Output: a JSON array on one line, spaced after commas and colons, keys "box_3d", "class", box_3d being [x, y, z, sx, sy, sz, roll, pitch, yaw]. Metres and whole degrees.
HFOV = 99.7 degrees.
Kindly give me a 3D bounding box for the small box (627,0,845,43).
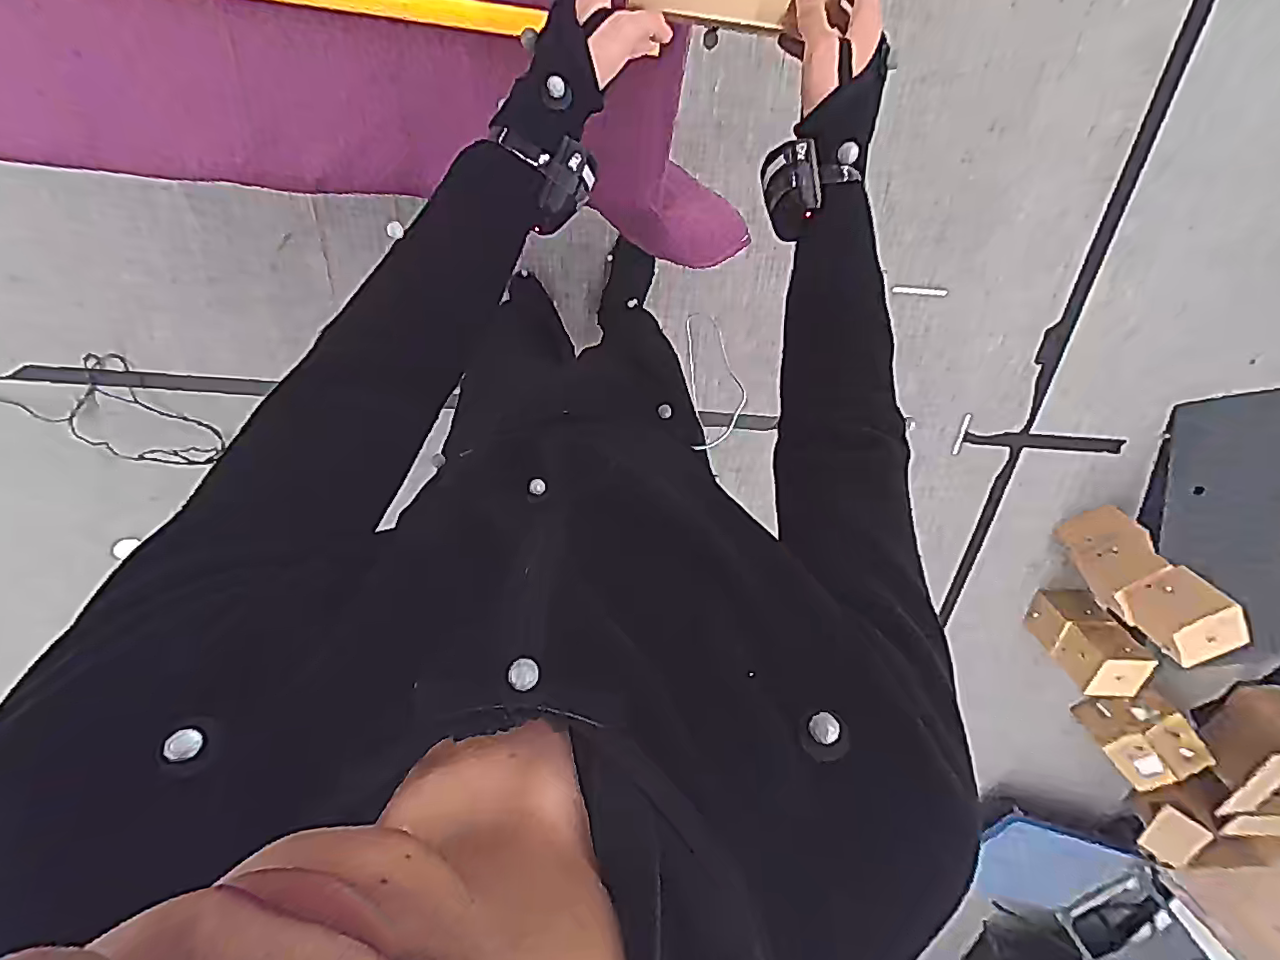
[{"box_3d": [0.085, -0.487, 0.454, 0.179, 0.176, 0.168, 5, 129, -6], "class": "small box"}]
